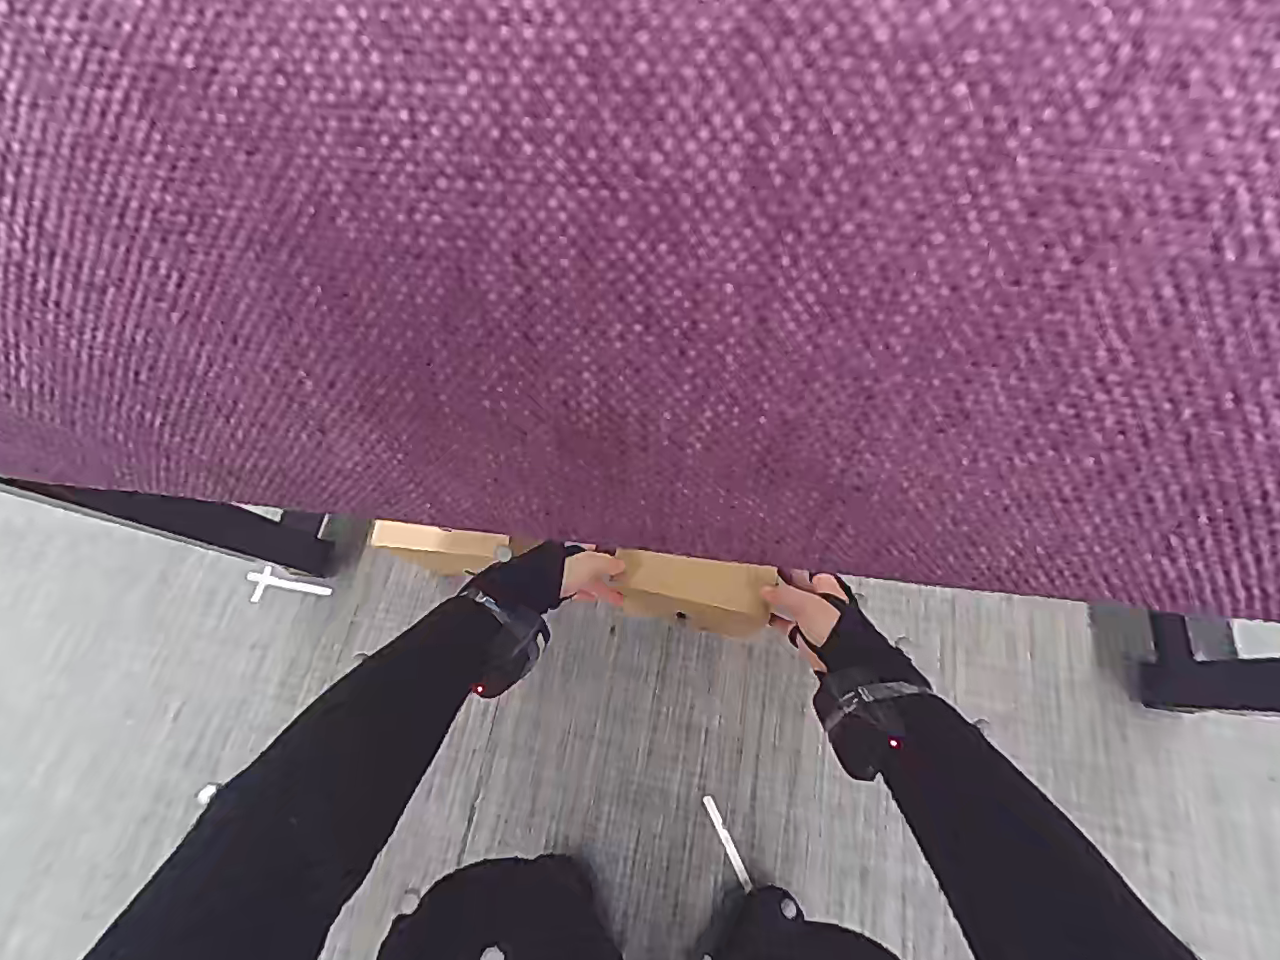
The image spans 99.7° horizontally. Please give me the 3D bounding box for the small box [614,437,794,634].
[{"bbox_3d":[0.078,0.075,0.646,0.168,0.176,0.179,11,67,9],"label":"small box"}]
